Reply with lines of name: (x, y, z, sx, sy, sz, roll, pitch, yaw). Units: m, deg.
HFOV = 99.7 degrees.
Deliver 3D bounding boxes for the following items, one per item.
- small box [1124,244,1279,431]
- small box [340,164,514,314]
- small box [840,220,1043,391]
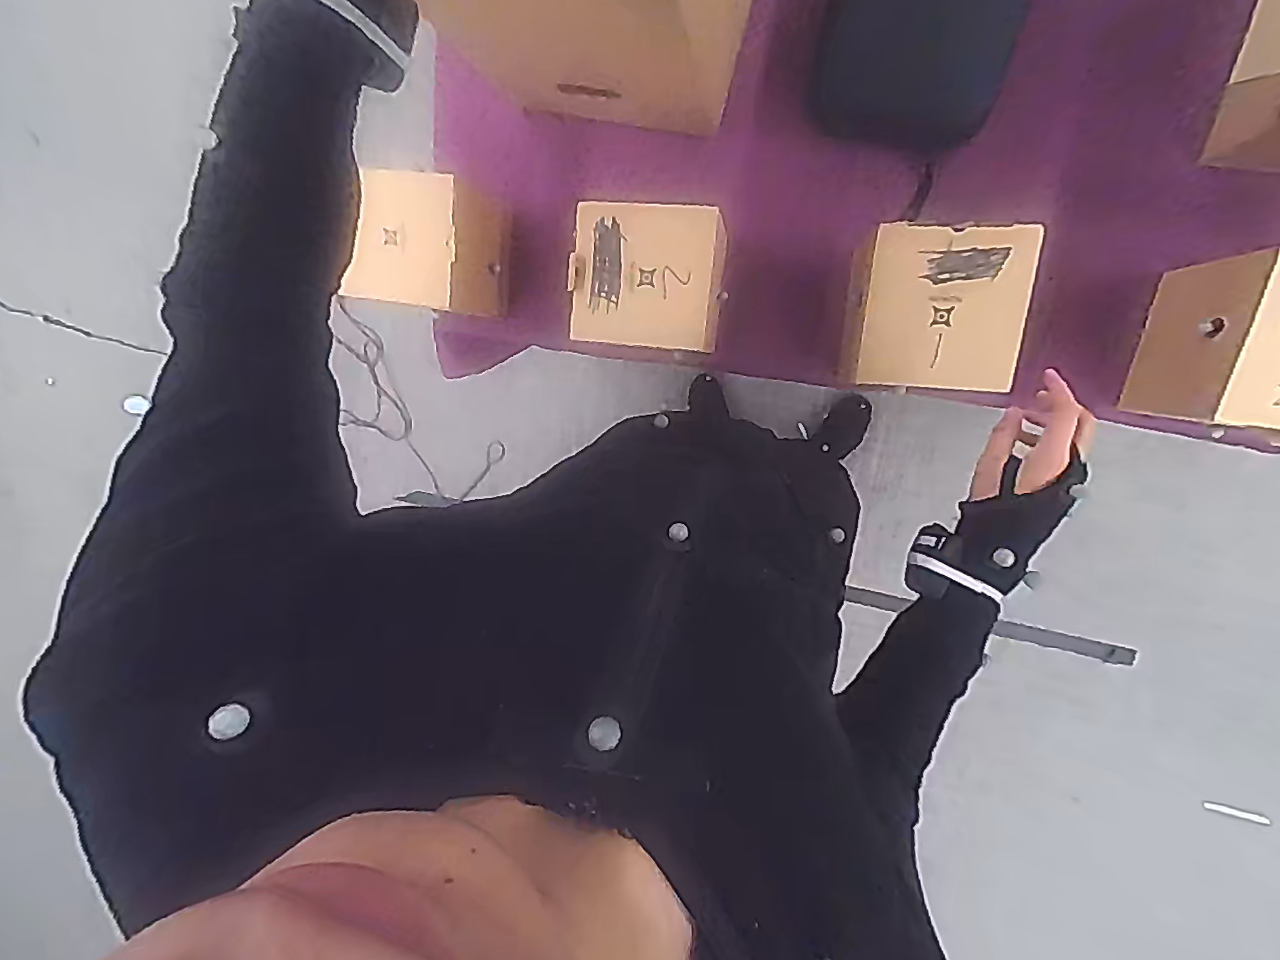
small box: (0.703, -0.150, 0.605, 0.168, 0.176, 0.179, 11, 105, 11)
small box: (-0.306, -0.341, 0.794, 0.179, 0.176, 0.168, 9, 105, 9)
small box: (0.354, -0.210, 0.674, 0.168, 0.176, 0.179, 6, 105, 12)
